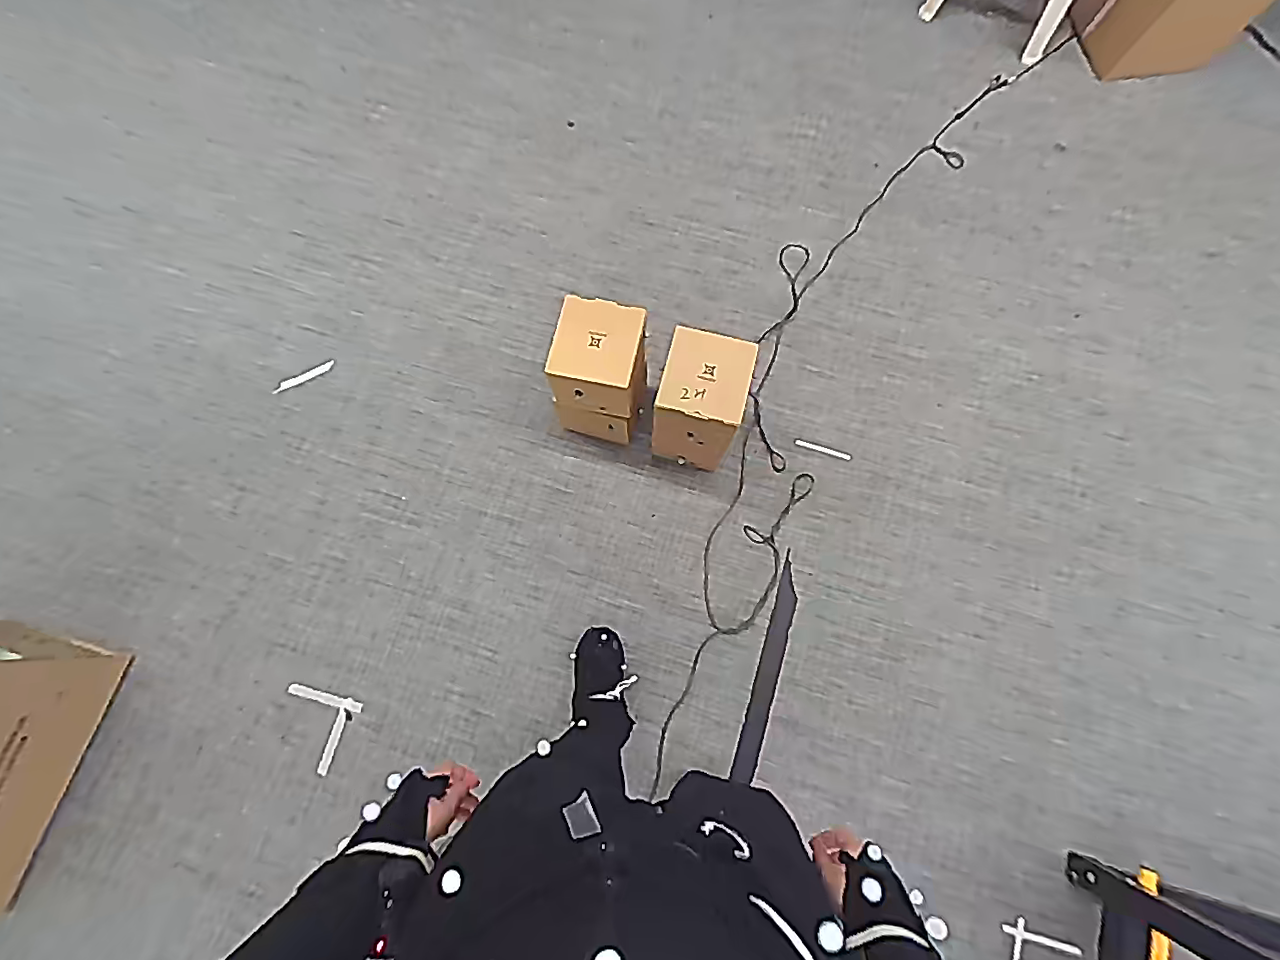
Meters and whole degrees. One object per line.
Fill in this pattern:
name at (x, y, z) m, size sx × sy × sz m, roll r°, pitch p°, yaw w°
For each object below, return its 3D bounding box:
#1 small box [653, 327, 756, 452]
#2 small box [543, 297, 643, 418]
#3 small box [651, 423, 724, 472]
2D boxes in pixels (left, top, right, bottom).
small box at (0.124, -0.177, 1.102) m, size 0.168 × 0.176 × 0.179 m, roll 15°, pitch 77°, yaw 5°
small box at (-0.088, -0.245, 1.124) m, size 0.168 × 0.176 × 0.179 m, roll 12°, pitch 75°, yaw 3°
small box at (0.125, -0.137, 1.262) m, size 0.168 × 0.176 × 0.179 m, roll 17°, pitch 77°, yaw 5°
